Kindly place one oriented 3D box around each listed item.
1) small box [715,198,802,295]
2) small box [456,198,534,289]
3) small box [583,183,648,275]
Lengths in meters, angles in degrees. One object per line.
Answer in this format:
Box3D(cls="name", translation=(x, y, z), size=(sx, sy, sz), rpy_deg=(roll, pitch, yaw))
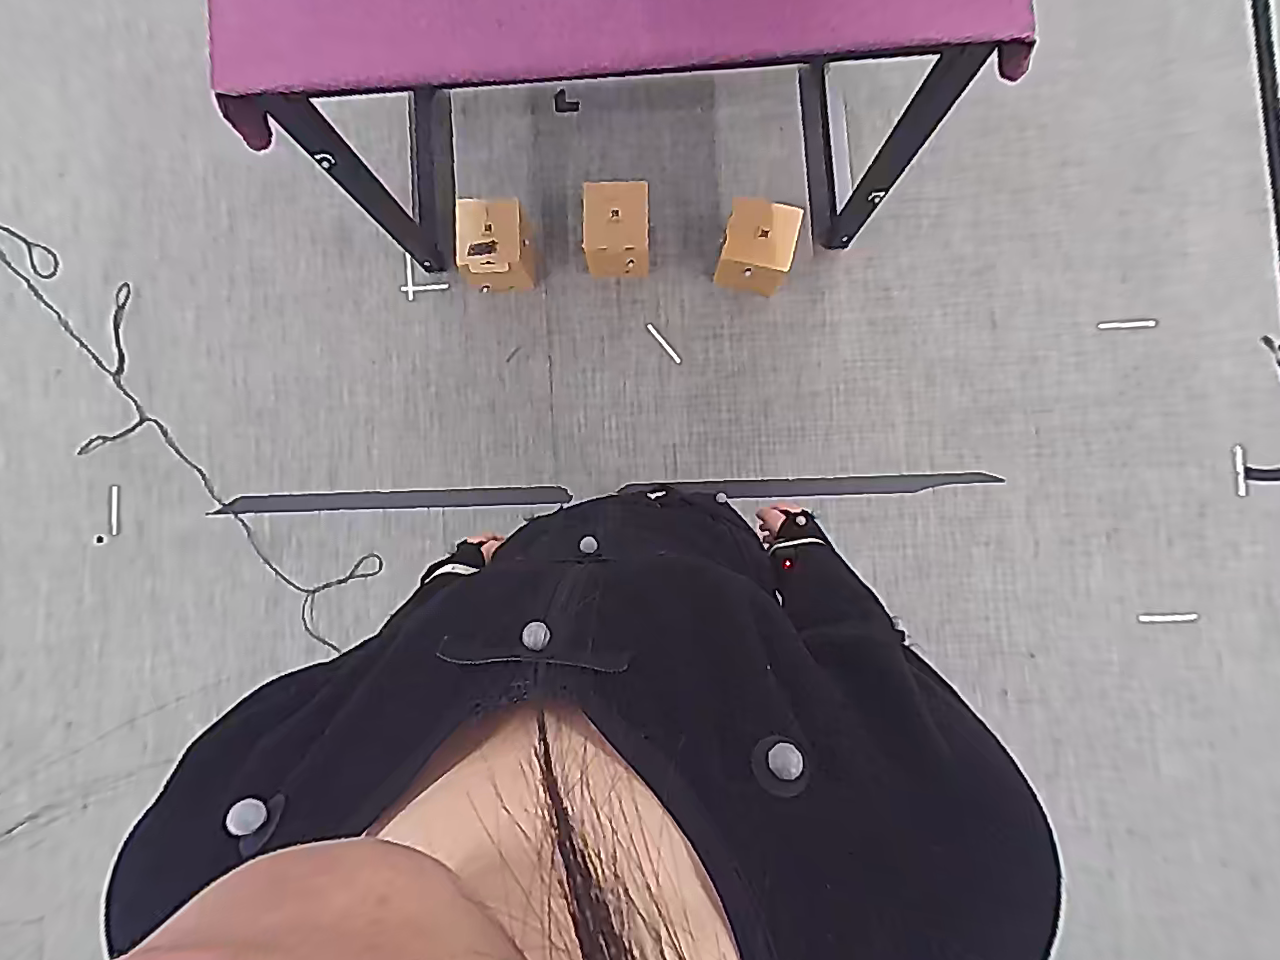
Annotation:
Box3D(cls="small box", translation=(0.308, -0.612, 1.438), size=(0.179, 0.176, 0.168), rpy_deg=(14, 89, 3))
Box3D(cls="small box", translation=(-0.384, -0.625, 1.452), size=(0.168, 0.176, 0.179), rpy_deg=(-2, 87, 1))
Box3D(cls="small box", translation=(-0.062, -0.662, 1.448), size=(0.168, 0.176, 0.179), rpy_deg=(-1, 87, 0))
